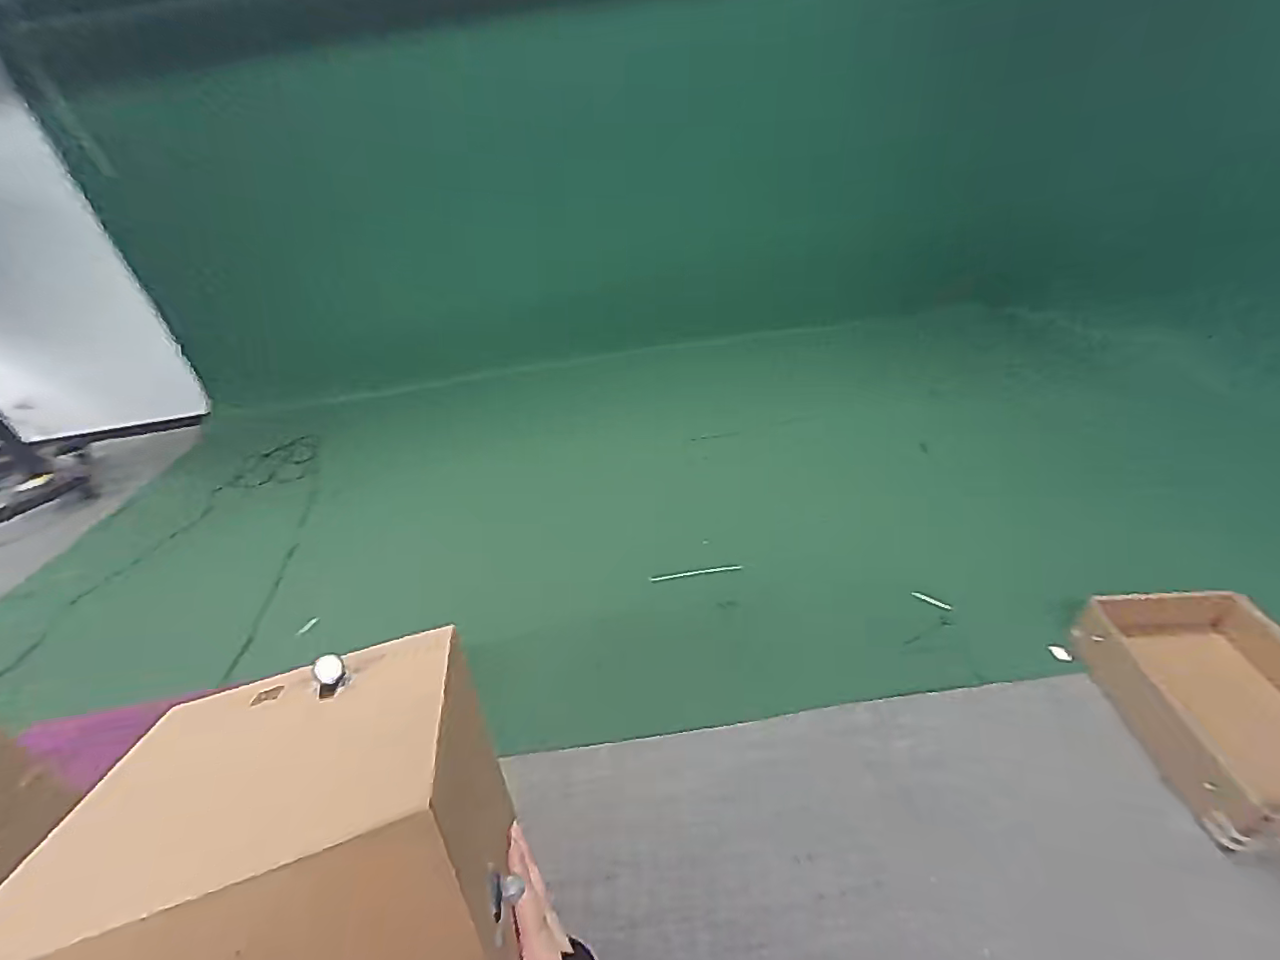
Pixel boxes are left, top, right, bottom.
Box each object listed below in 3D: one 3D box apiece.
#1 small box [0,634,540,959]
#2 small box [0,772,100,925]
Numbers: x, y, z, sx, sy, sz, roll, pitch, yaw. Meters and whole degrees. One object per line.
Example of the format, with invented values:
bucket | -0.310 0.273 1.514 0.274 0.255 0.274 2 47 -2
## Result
small box | -0.149 0.211 0.279 0.168 0.179 0.176 -14 13 -13
small box | -0.701 0.430 0.543 0.179 0.176 0.168 -9 33 0
